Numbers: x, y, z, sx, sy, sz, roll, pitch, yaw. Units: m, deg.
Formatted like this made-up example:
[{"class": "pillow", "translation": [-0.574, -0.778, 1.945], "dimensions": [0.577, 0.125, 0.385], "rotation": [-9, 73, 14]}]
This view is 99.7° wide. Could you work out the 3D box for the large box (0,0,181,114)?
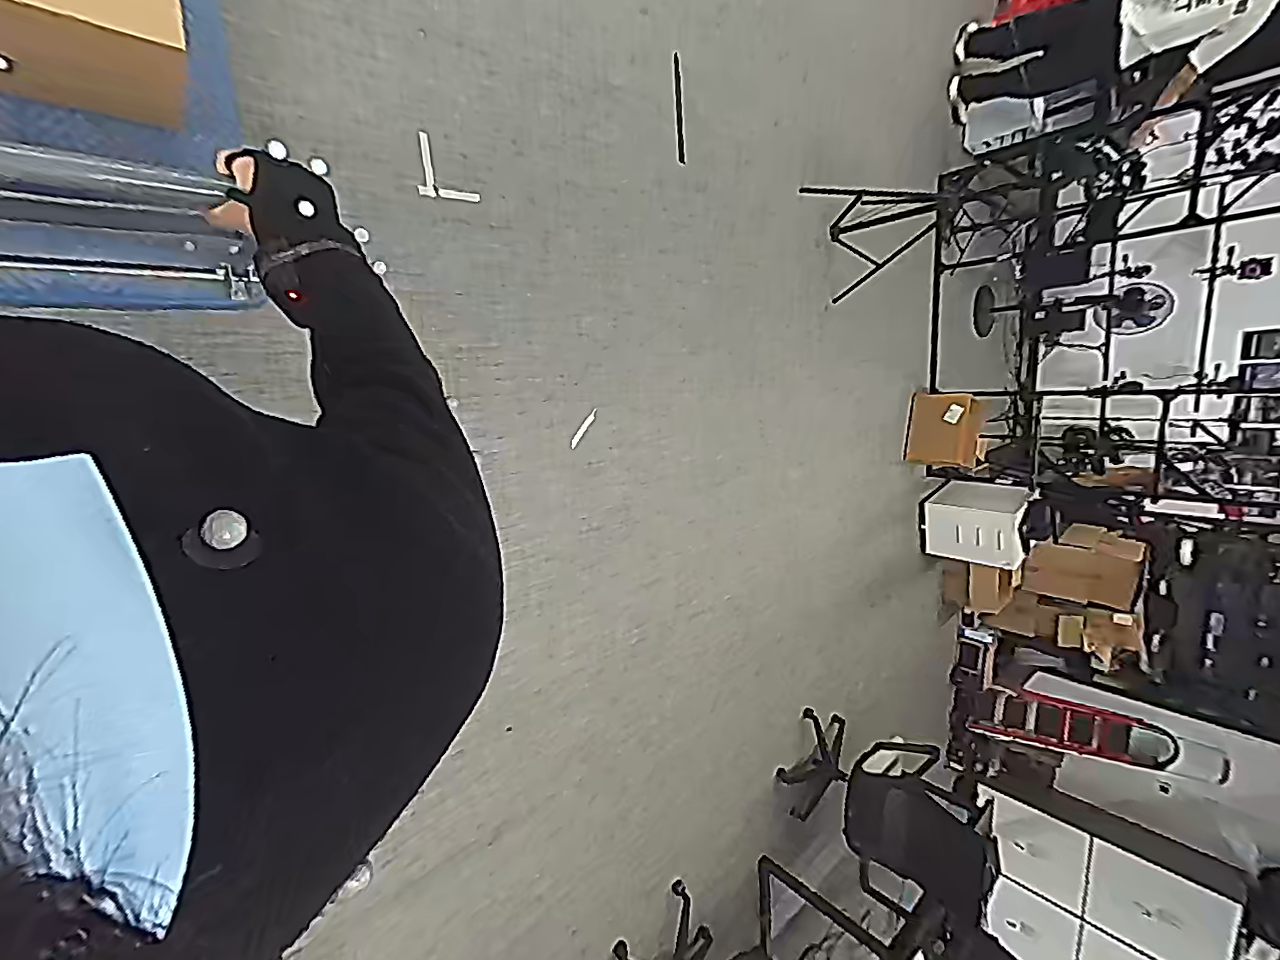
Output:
[{"class": "large box", "translation": [-0.902, -0.760, 0.719], "dimensions": [0.408, 0.320, 0.320], "rotation": [-10, 102, -40]}]
